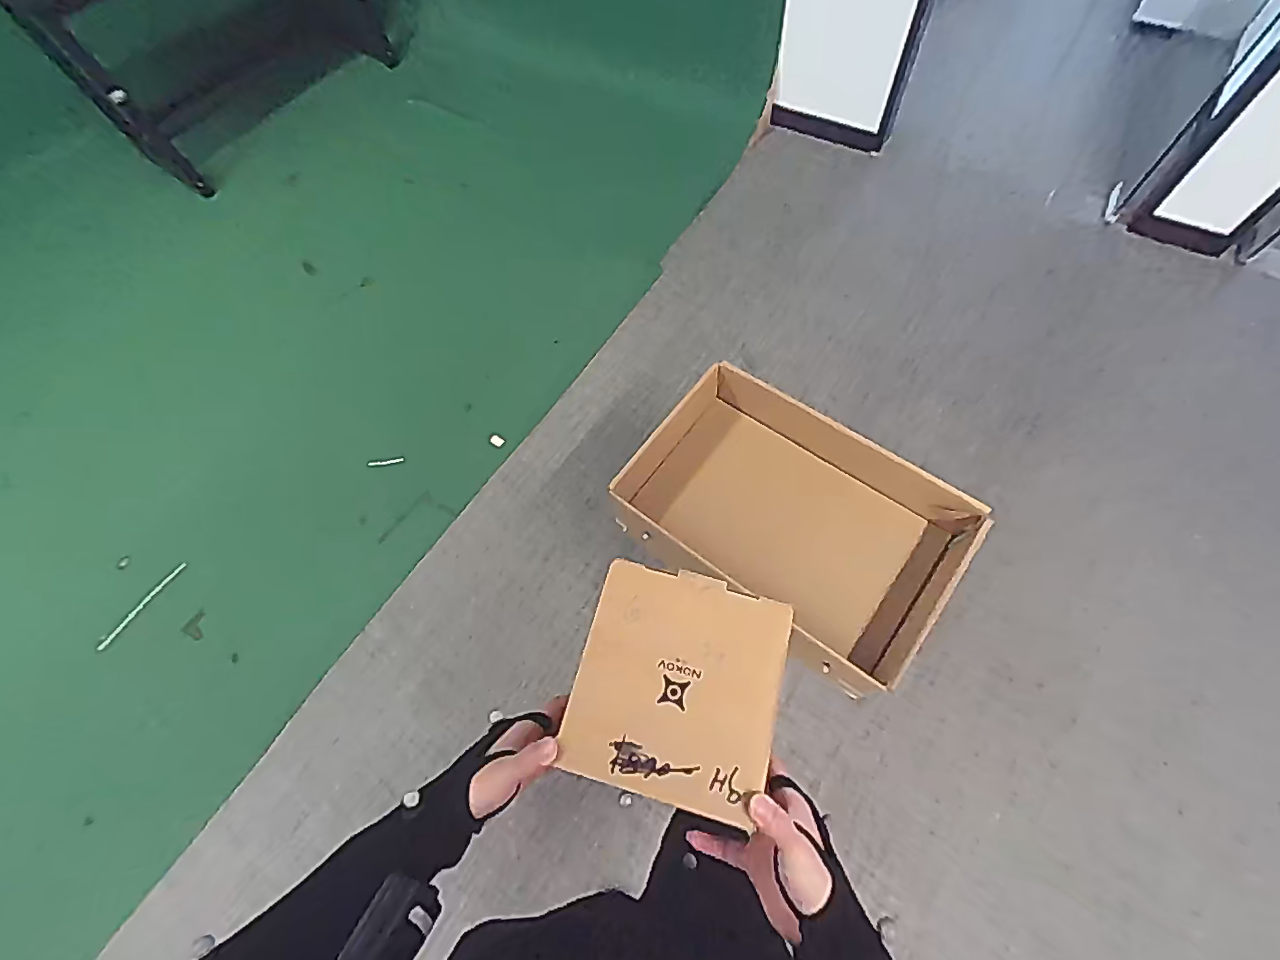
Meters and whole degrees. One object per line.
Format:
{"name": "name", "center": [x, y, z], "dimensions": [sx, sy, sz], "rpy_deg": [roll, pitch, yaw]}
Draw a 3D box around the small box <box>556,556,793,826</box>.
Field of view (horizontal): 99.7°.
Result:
{"name": "small box", "center": [0.034, 0.197, 0.521], "dimensions": [0.168, 0.176, 0.179], "rpy_deg": [14, 67, 8]}
